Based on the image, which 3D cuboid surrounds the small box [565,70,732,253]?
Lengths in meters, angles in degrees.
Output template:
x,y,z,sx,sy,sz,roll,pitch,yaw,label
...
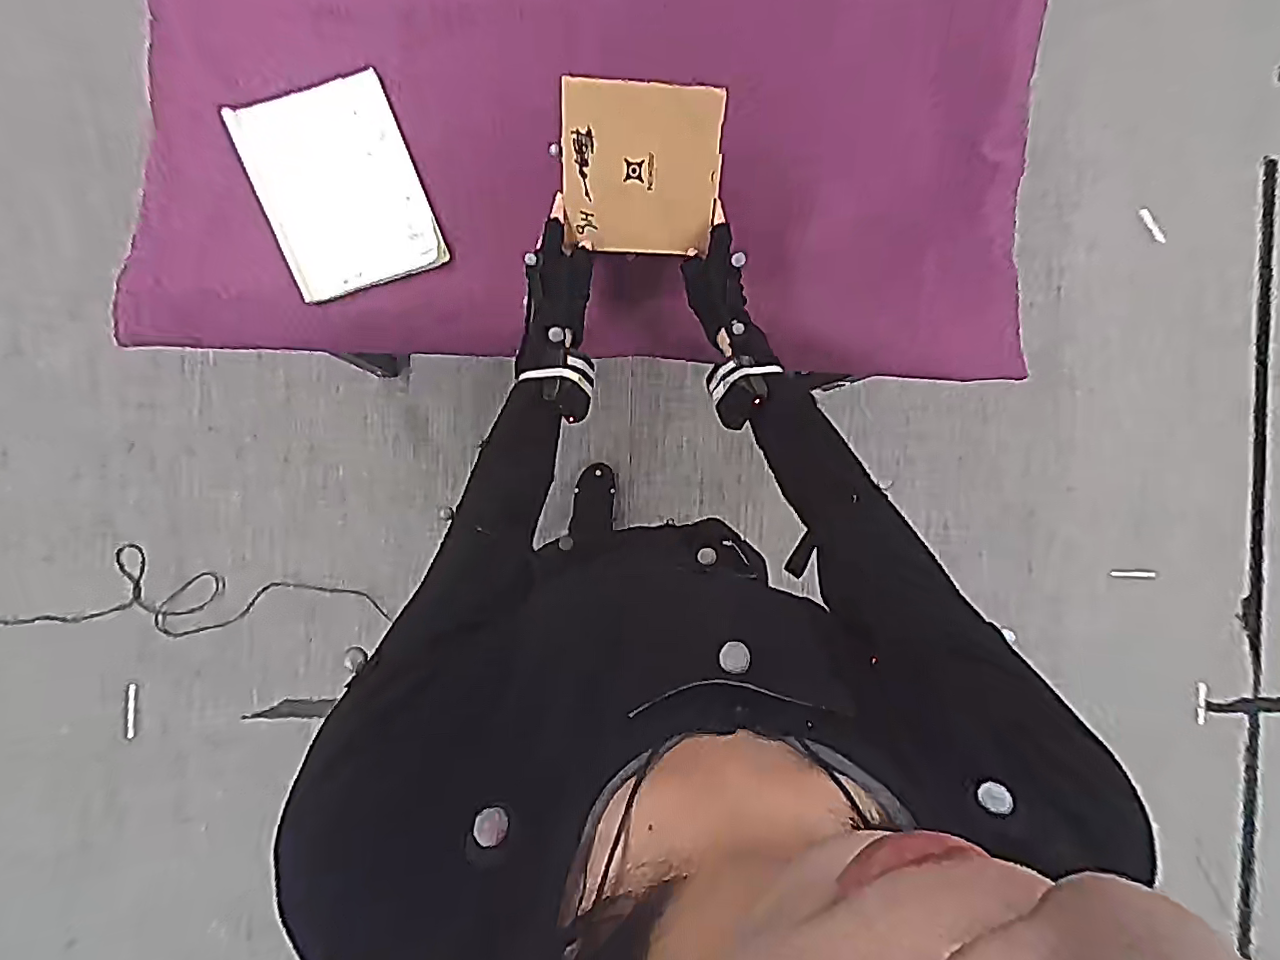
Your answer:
x,y,z,sx,sy,sz,roll,pitch,yaw,label
-0.002,-0.375,0.661,0.179,0.176,0.168,0,115,-7,small box
